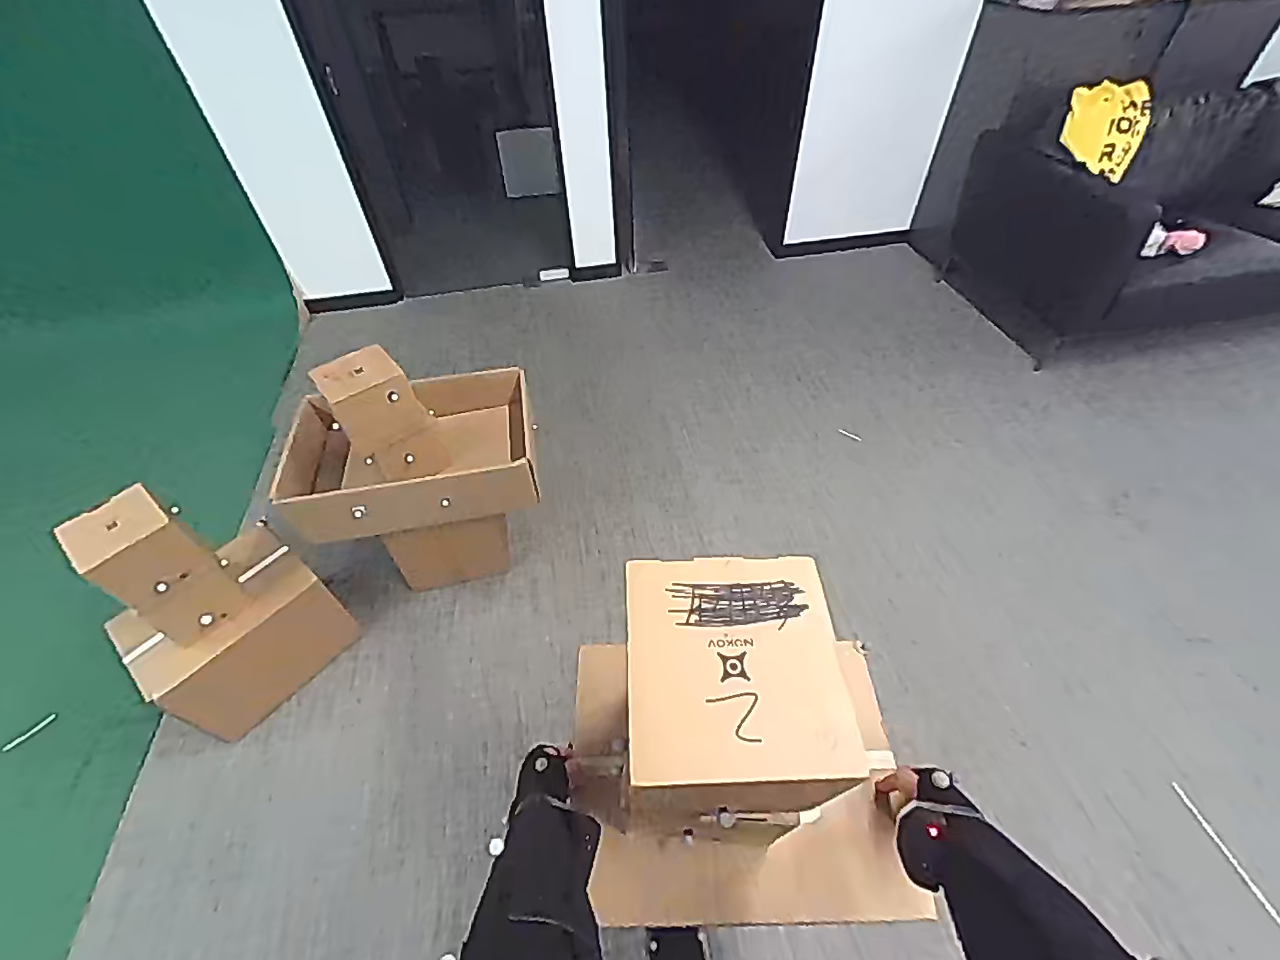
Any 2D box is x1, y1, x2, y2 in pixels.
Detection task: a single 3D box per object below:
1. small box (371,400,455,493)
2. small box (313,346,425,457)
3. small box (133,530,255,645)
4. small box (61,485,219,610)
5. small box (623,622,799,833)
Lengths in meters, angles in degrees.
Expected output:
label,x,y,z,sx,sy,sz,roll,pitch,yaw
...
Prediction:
label,x,y,z,sx,sy,sz,roll,pitch,yaw
small box,-0.632,-0.097,1.457,0.179,0.176,0.168,-34,57,-25
small box,-0.651,-0.191,1.322,0.179,0.176,0.168,-33,54,-24
small box,-1.074,0.259,1.291,0.179,0.176,0.168,34,57,28
small box,-1.072,0.149,1.170,0.179,0.176,0.168,31,56,26
small box,0.069,0.280,0.609,0.168,0.176,0.179,2,52,2
